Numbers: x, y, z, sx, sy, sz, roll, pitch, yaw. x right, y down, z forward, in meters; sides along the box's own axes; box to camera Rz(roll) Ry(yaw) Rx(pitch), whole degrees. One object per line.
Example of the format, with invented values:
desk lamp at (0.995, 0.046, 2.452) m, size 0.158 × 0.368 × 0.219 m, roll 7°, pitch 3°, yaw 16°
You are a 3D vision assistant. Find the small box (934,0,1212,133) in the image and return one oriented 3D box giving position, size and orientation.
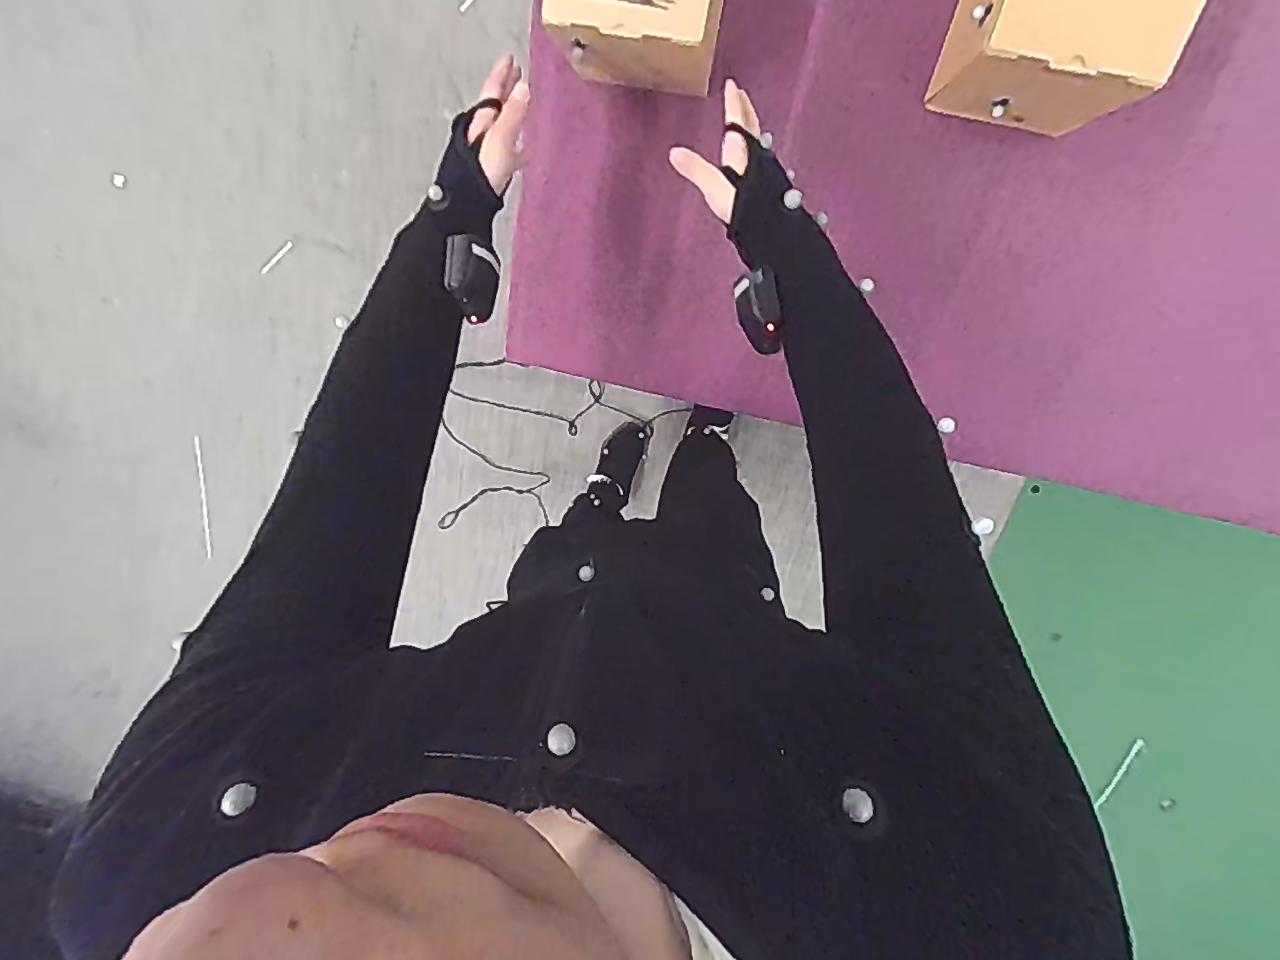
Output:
small box at (0.429, -0.479, 0.539) m, size 0.168 × 0.176 × 0.179 m, roll 14°, pitch 112°, yaw 2°
